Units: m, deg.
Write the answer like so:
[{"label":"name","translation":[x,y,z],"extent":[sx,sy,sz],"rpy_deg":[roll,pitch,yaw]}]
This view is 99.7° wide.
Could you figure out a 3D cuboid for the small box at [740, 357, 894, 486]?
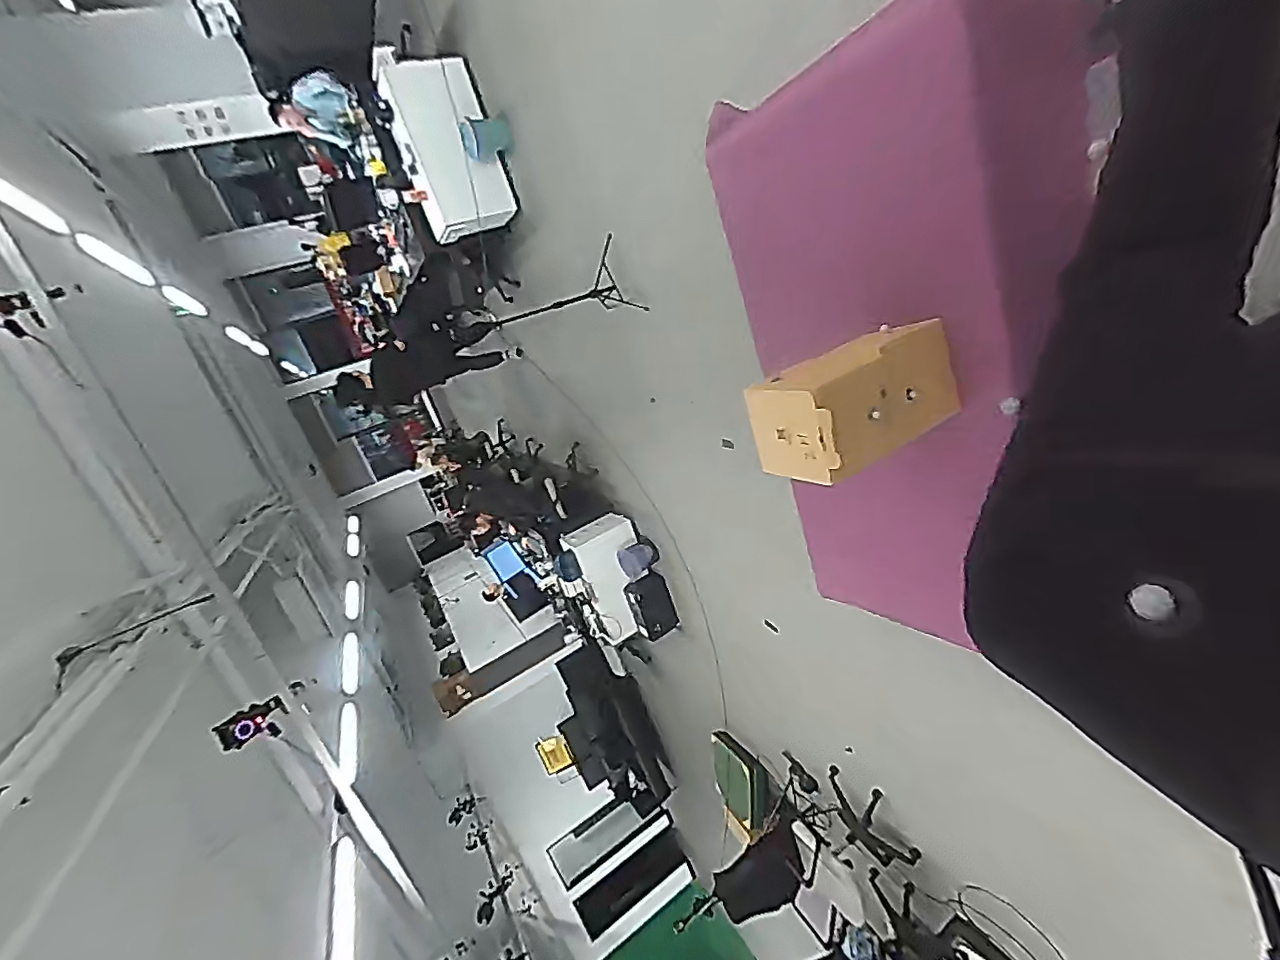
[{"label":"small box","translation":[0.308,-0.109,0.948],"extent":[0.179,0.176,0.168],"rpy_deg":[18,131,60]}]

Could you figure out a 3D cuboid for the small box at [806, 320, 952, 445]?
[{"label":"small box","translation":[0.447,-0.177,1.006],"extent":[0.168,0.176,0.179],"rpy_deg":[7,120,64]}]
